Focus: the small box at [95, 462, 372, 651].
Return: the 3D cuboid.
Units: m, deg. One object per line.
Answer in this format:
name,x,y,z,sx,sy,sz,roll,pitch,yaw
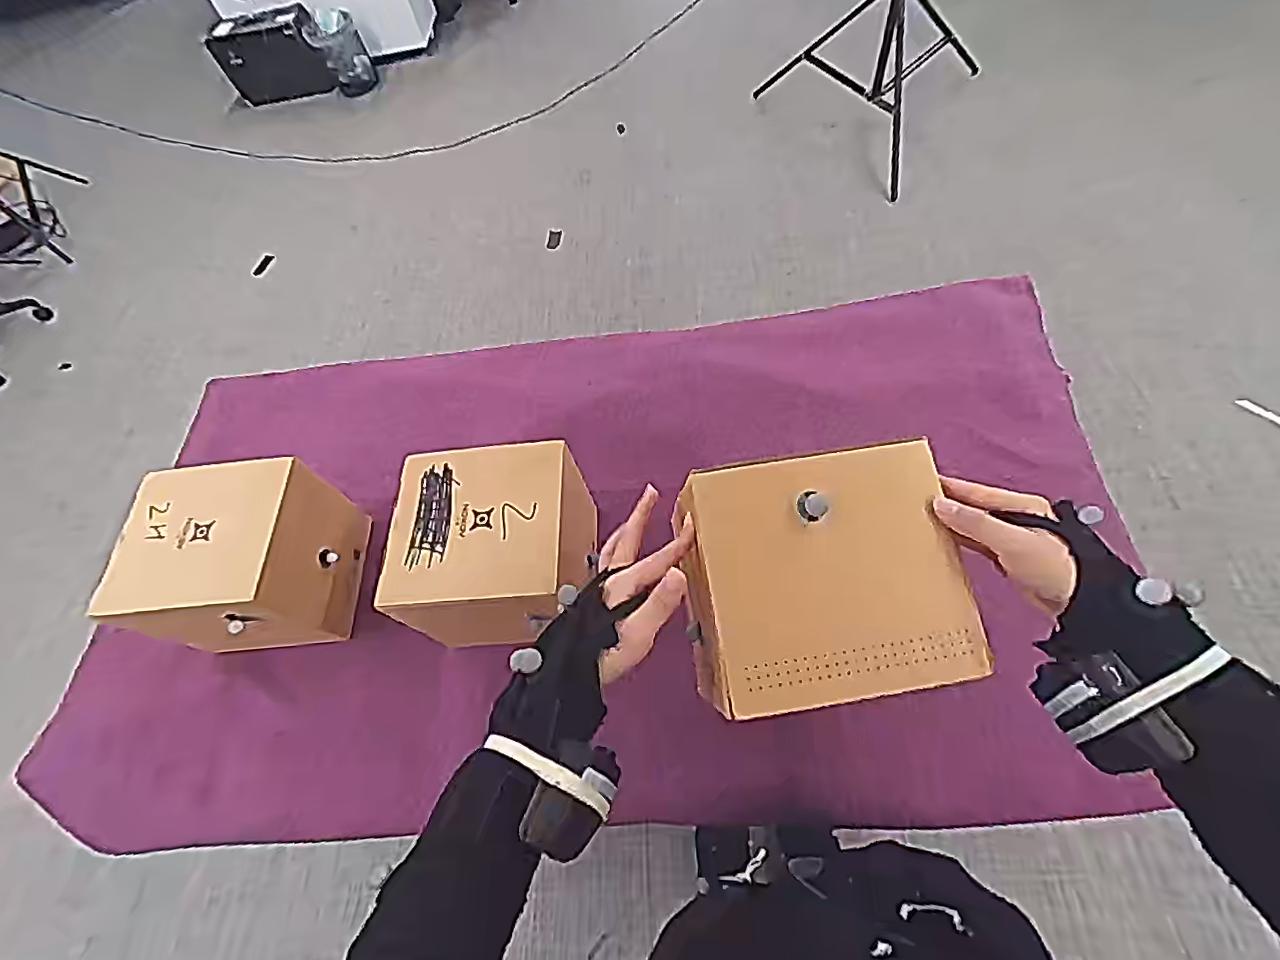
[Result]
small box,-0.448,0.097,0.635,0.179,0.176,0.168,-6,60,3
